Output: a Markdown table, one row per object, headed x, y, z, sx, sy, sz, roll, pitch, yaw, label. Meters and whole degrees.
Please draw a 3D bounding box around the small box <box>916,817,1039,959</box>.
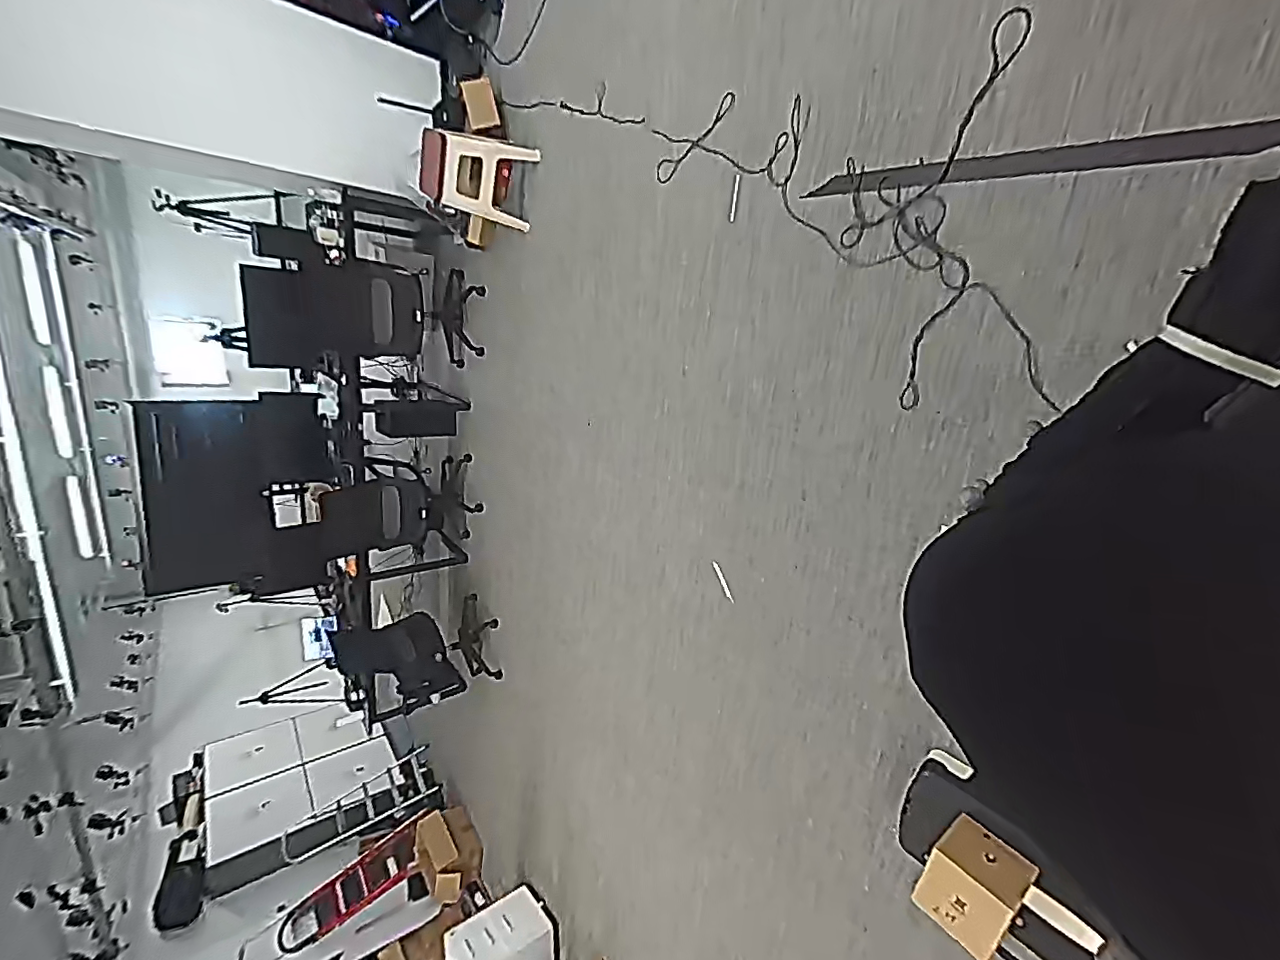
| x | y | z | sx | sy | sz | roll | pitch | yaw | label |
| --- | --- | --- | --- | --- | --- | --- | --- | --- | --- |
| 0.767 | 0.918 | 1.226 | 0.168 | 0.176 | 0.179 | 30 | 119 | 46 | small box |
